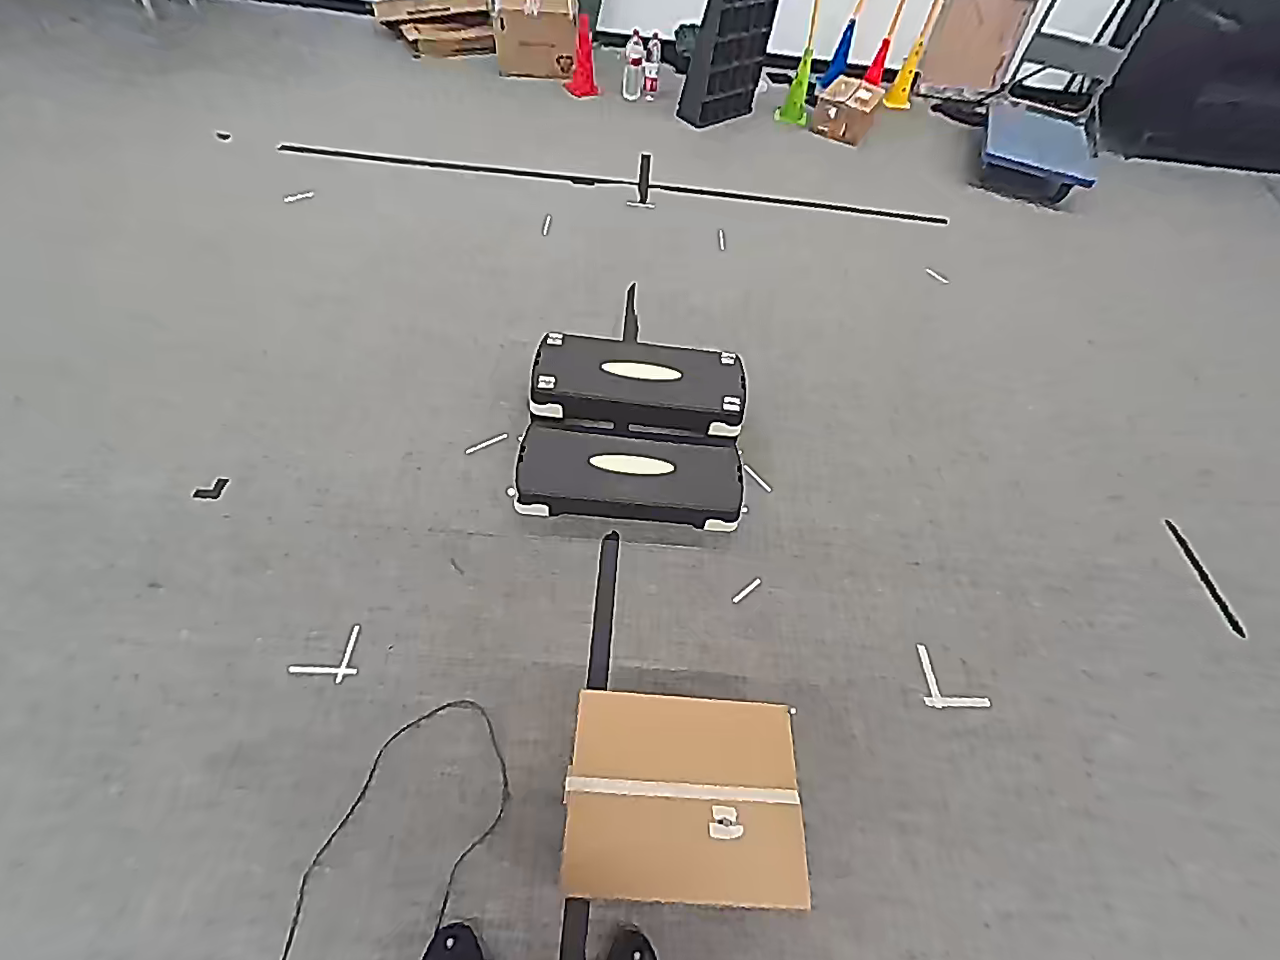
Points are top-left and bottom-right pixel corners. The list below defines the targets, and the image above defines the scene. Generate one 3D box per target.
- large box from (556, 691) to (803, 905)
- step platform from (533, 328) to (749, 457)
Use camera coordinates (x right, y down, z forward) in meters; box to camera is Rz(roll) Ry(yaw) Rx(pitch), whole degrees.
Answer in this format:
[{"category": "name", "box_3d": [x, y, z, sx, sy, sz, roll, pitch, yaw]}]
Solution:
[{"category": "large box", "box_3d": [0.052, 0.622, 1.055, 0.408, 0.320, 0.320, 6, 55, -4]}, {"category": "step platform", "box_3d": [0.005, -0.287, 1.754, 0.684, 0.204, 0.286, 10, 55, 0]}]
